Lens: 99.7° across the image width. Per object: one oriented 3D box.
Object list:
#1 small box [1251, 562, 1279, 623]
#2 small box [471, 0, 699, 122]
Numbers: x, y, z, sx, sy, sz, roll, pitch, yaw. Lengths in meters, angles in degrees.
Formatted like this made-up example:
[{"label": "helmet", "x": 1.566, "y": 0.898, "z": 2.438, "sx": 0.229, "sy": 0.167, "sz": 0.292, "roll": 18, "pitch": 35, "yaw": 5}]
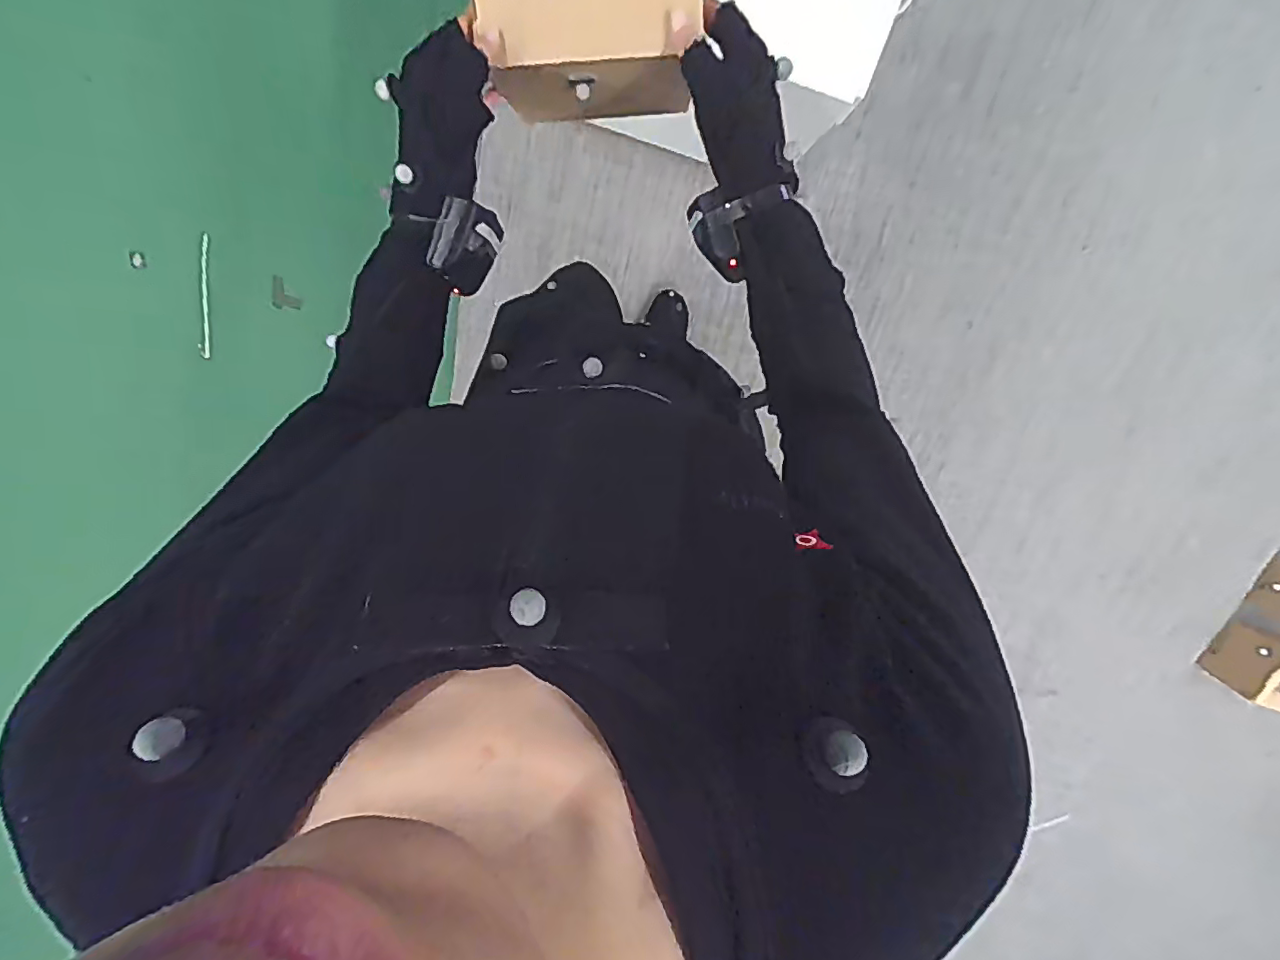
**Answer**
[{"label": "small box", "x": 1.811, "y": 0.328, "z": 1.421, "sx": 0.179, "sy": 0.176, "sz": 0.168, "roll": 13, "pitch": 108, "yaw": -1}, {"label": "small box", "x": -0.042, "y": -0.429, "z": 0.467, "sx": 0.179, "sy": 0.176, "sz": 0.168, "roll": -3, "pitch": 110, "yaw": 2}]
